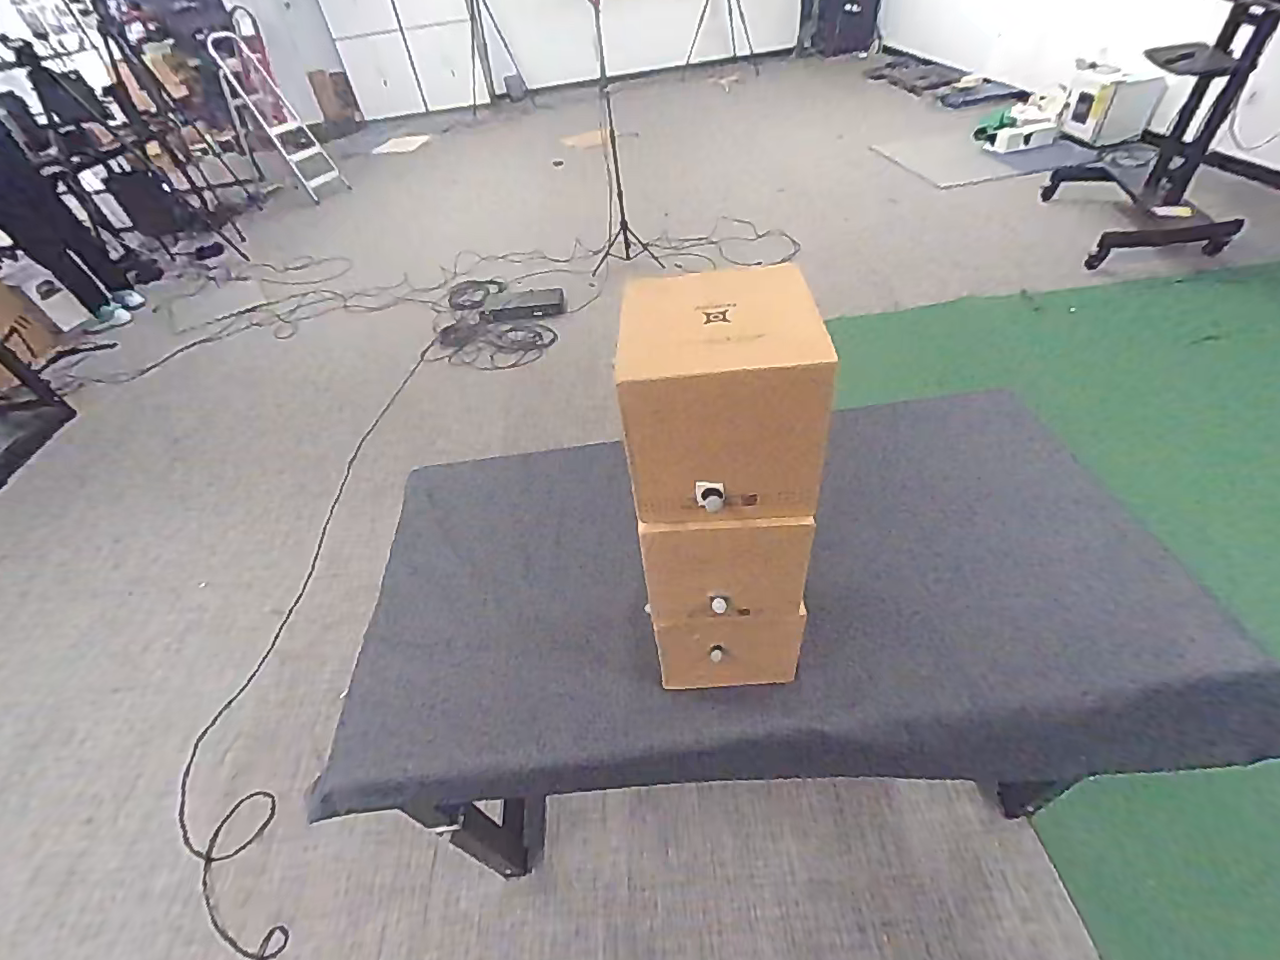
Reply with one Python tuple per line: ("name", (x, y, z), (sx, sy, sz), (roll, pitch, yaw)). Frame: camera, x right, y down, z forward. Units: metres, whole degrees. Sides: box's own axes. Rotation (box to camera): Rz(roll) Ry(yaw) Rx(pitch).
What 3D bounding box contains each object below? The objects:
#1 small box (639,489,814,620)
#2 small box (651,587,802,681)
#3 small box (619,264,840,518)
("small box", (0.092, 0.039, 0.619), (0.168, 0.176, 0.179), (-2, 45, 6))
("small box", (0.110, 0.158, 0.732), (0.179, 0.176, 0.168), (-5, 44, 4))
("small box", (0.077, -0.082, 0.513), (0.168, 0.176, 0.179), (-4, 45, 6))
